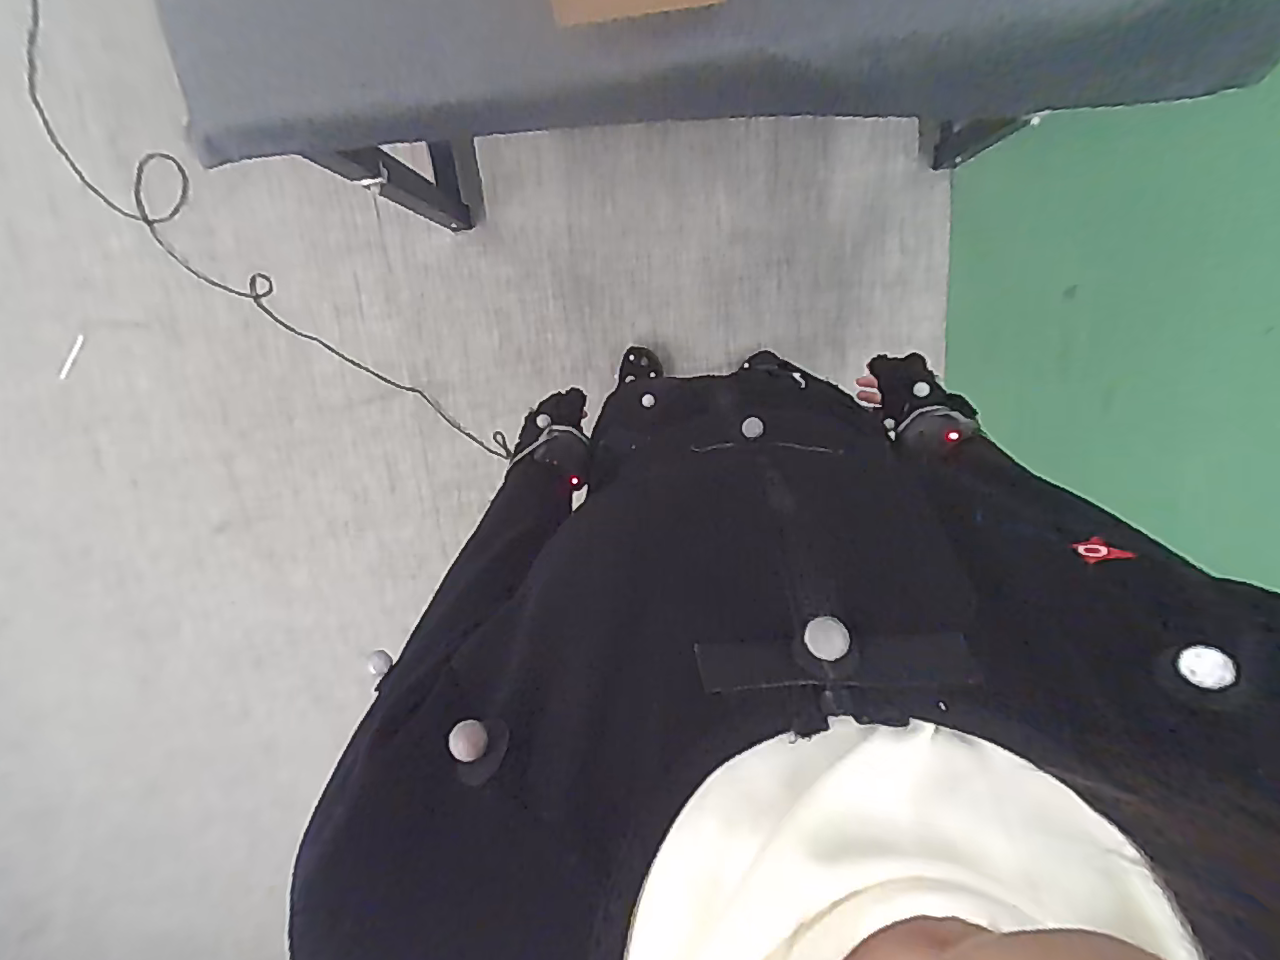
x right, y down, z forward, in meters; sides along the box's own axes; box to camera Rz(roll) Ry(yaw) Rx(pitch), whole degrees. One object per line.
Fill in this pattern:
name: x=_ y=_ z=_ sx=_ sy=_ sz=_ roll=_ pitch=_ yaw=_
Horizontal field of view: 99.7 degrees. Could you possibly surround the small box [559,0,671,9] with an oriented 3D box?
small box: x=-0.009 y=-0.547 z=0.459 sx=0.179 sy=0.176 sz=0.168 roll=-5 pitch=104 yaw=3
